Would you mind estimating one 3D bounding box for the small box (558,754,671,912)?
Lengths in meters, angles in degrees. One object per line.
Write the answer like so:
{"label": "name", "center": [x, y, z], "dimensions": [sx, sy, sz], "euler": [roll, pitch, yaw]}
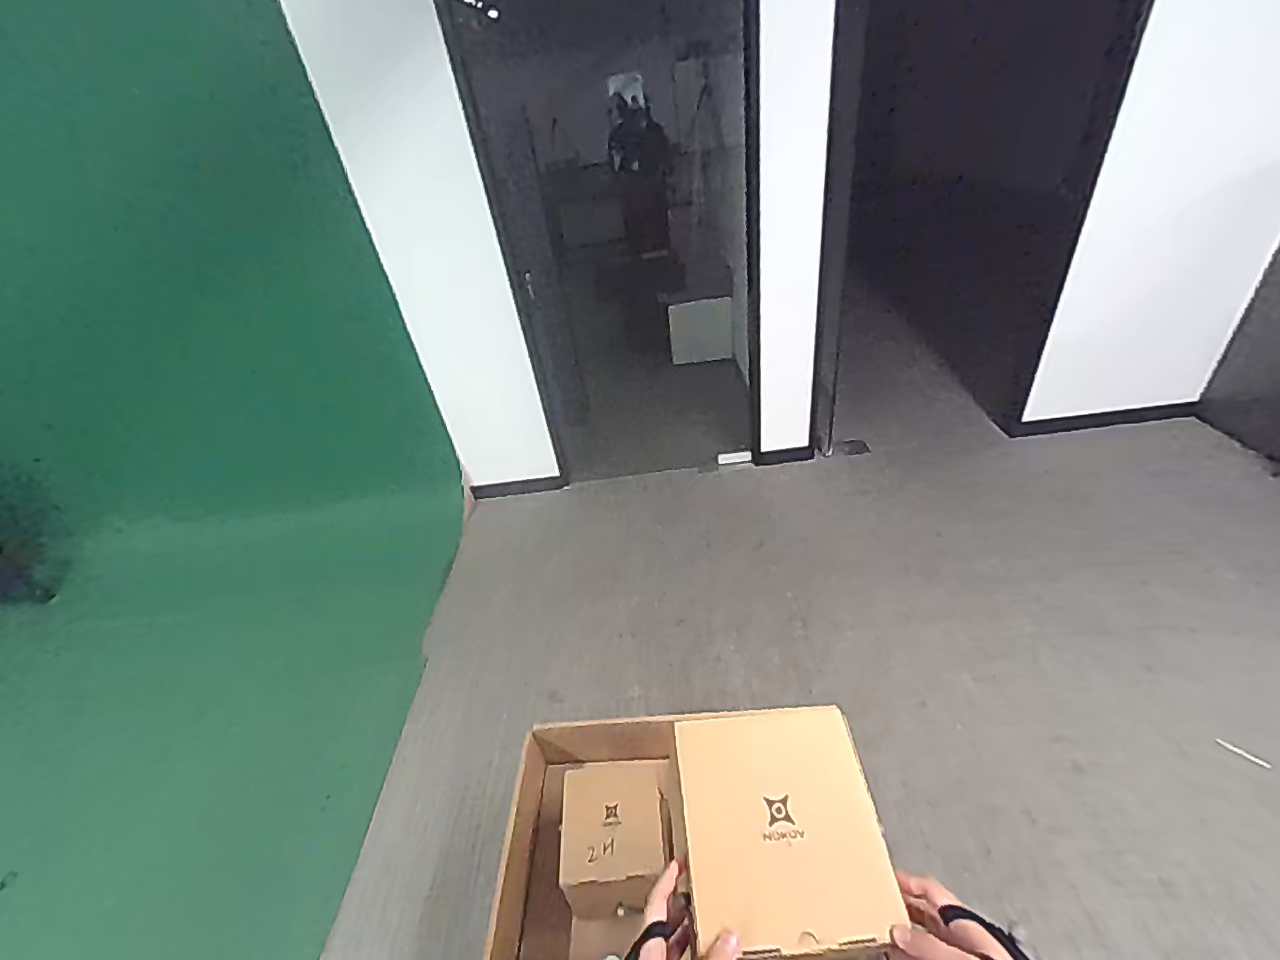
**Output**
{"label": "small box", "center": [-0.039, 0.610, 0.938], "dimensions": [0.168, 0.176, 0.179], "euler": [-7, 36, 2]}
